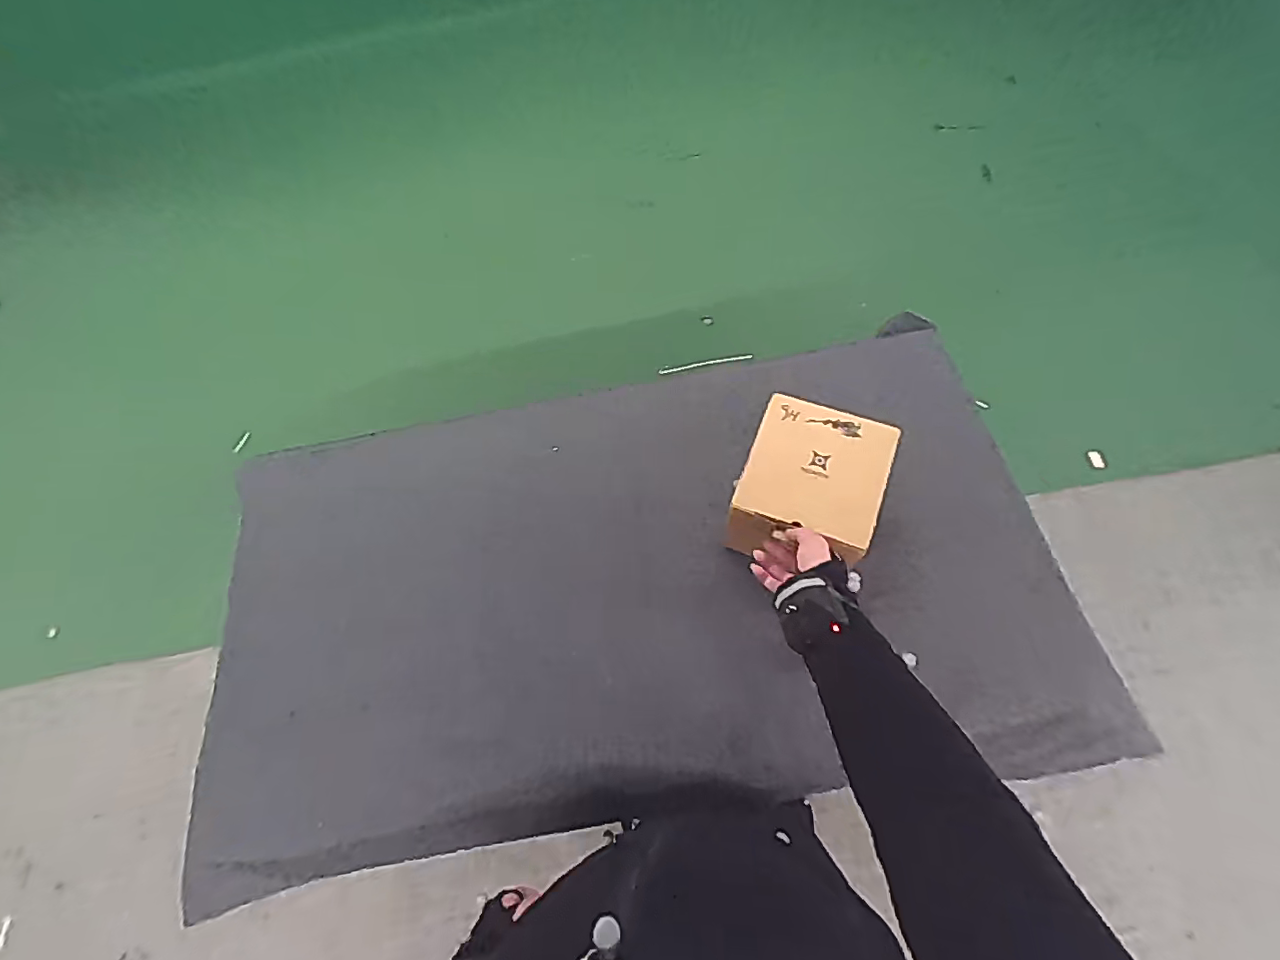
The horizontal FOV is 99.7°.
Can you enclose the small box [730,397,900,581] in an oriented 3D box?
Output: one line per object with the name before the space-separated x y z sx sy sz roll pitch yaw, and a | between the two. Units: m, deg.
small box | 0.229 0.020 0.744 0.168 0.176 0.179 20 70 14
